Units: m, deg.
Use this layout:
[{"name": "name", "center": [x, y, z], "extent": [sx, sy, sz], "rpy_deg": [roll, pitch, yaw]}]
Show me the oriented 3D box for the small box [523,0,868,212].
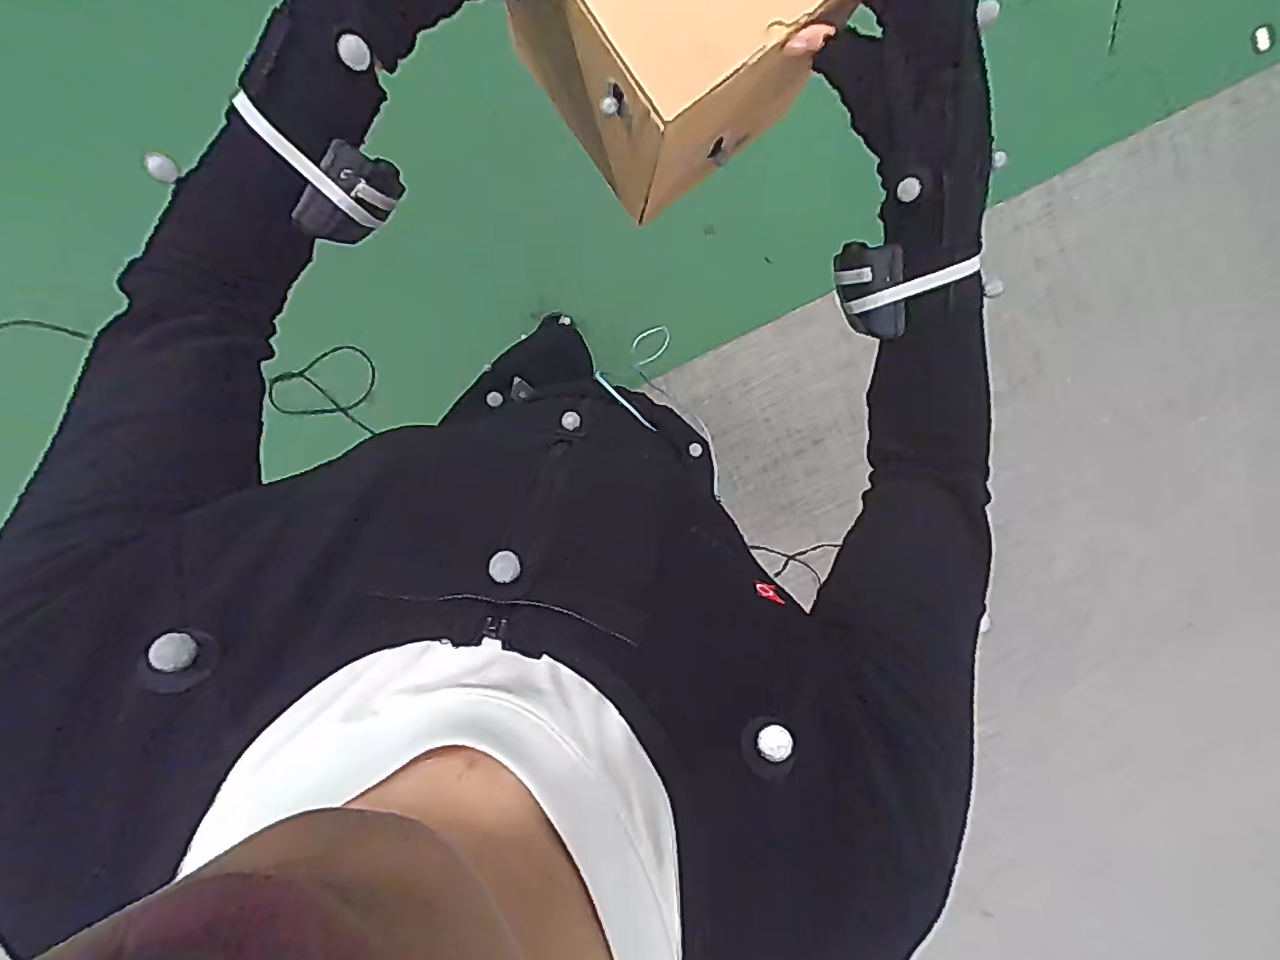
[{"name": "small box", "center": [0.025, -0.334, 0.384], "extent": [0.168, 0.176, 0.179], "rpy_deg": [-37, 100, 0]}]
